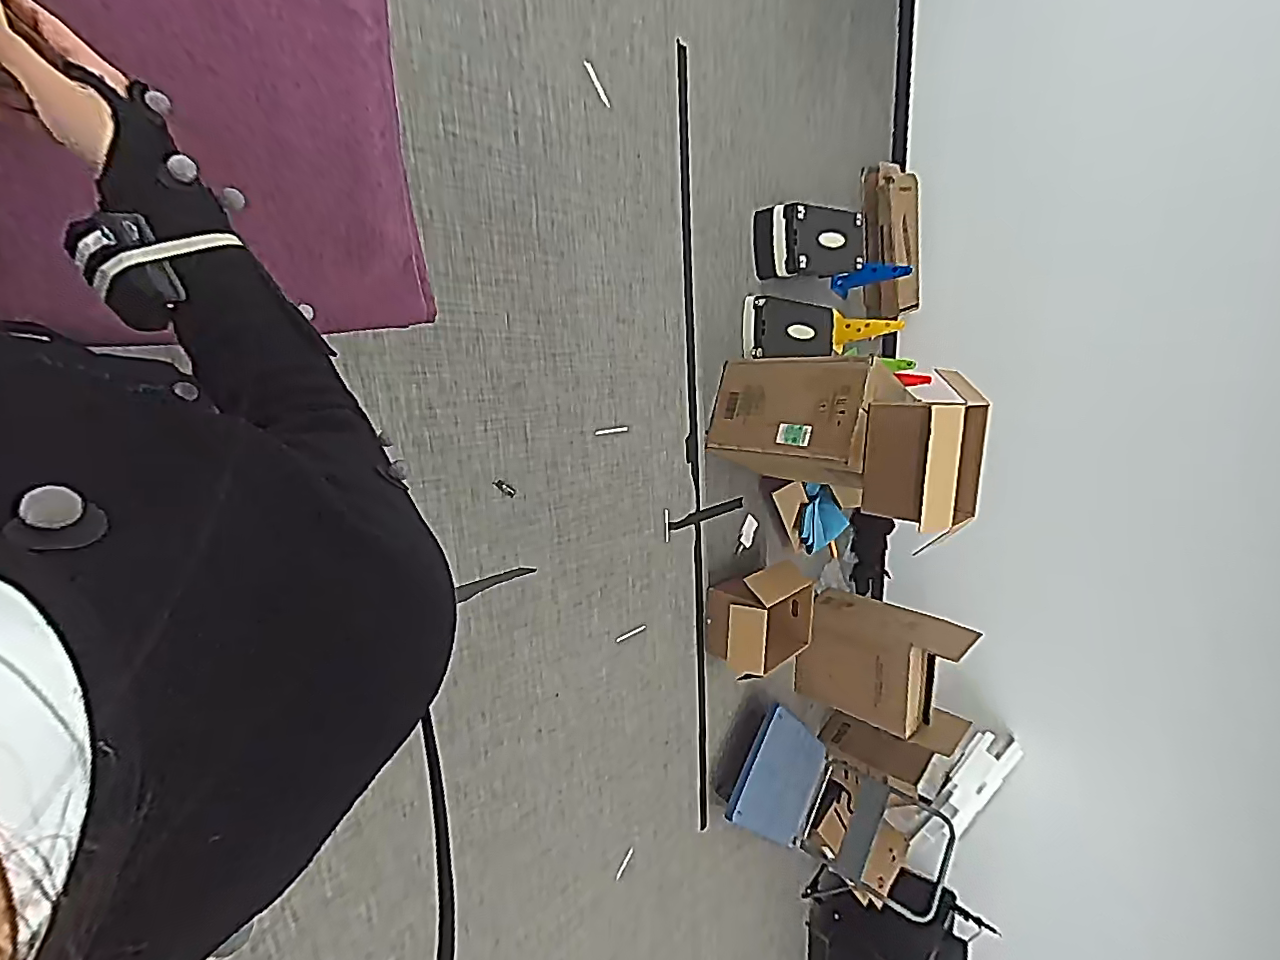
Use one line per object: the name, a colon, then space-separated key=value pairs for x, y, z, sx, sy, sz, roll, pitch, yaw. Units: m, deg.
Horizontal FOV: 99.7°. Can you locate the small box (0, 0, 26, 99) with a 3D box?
small box: x=-0.486 y=-0.329 z=0.295 sx=0.179 sy=0.176 sz=0.168 roll=-16 pitch=119 yaw=-41
